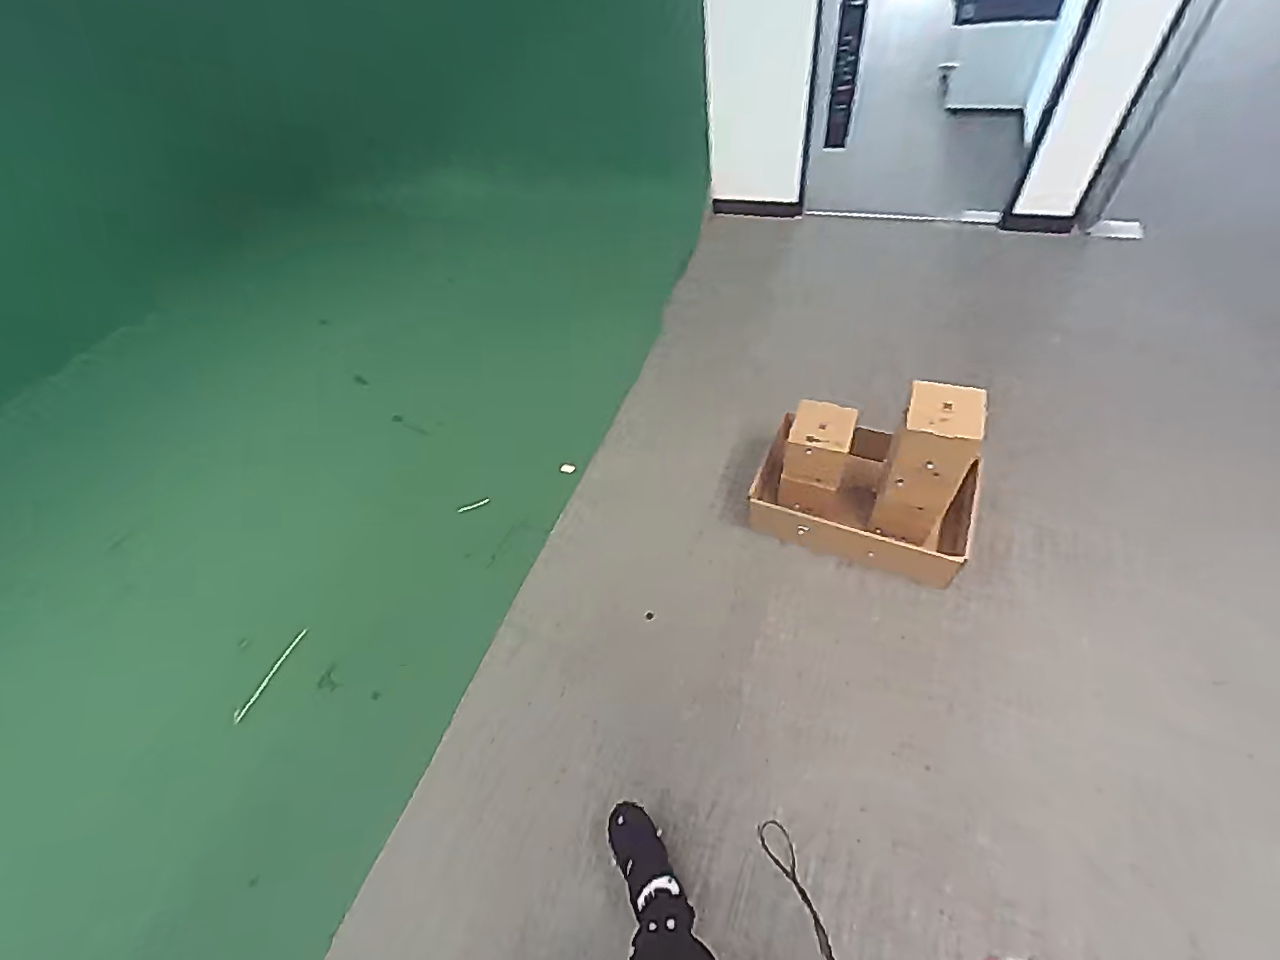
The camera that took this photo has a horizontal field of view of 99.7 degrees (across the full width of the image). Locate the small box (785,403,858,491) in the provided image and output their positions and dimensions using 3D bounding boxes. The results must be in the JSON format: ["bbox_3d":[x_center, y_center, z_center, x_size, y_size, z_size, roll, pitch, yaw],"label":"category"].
[{"bbox_3d":[0.532,-0.097,1.601,0.168,0.176,0.179,14,55,21],"label":"small box"}]

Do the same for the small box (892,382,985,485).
[{"bbox_3d":[0.750,-0.117,1.368,0.168,0.176,0.179,13,56,20],"label":"small box"}]
